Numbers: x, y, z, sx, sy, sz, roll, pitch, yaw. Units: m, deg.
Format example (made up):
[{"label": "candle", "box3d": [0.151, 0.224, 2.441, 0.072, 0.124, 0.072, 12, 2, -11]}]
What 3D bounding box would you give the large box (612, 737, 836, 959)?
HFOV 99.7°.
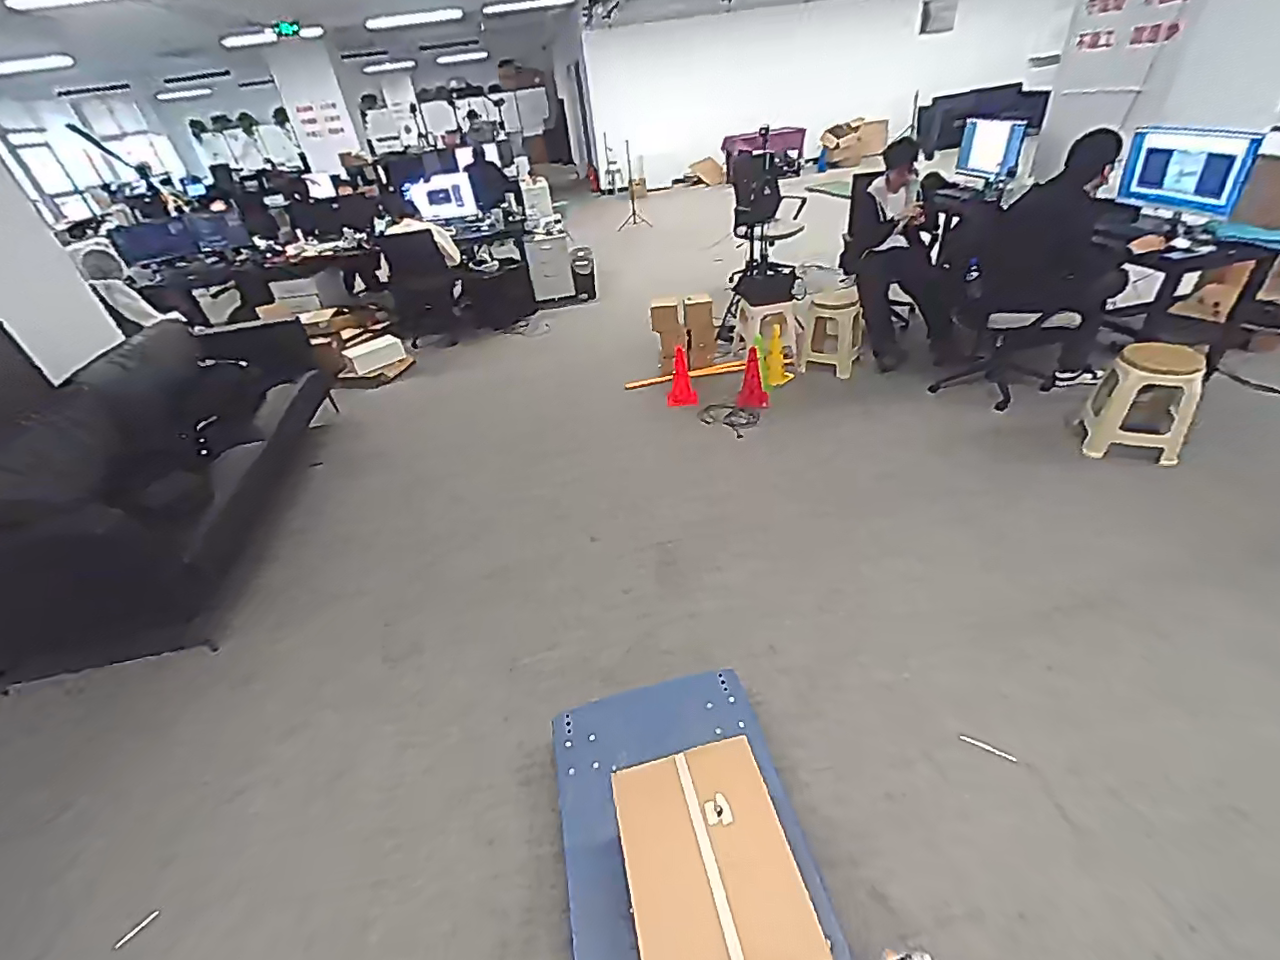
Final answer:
[{"label": "large box", "box3d": [0.151, 0.829, 1.105, 0.320, 0.320, 0.408, -12, 35, -6]}]
